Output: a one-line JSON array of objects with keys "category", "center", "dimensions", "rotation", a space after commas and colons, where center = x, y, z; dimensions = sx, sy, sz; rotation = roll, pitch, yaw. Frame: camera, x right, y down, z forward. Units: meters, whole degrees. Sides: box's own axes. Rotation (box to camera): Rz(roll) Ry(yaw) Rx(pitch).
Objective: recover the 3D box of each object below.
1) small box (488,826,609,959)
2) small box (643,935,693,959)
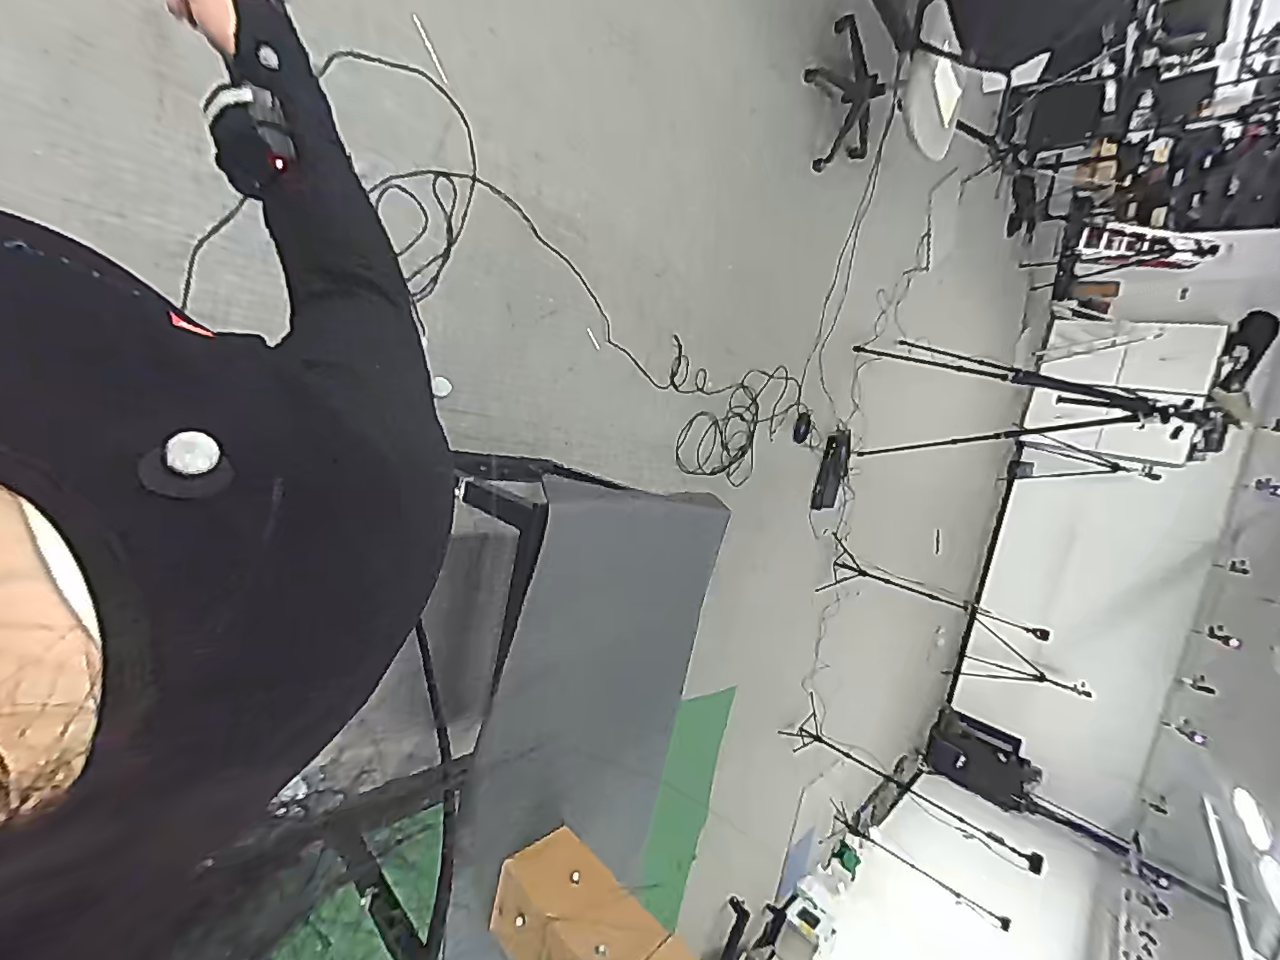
[{"category": "small box", "center": [-0.197, 0.885, 1.143], "dimensions": [0.179, 0.176, 0.168], "rotation": [4, 100, -50]}, {"category": "small box", "center": [0.044, 0.957, 0.932], "dimensions": [0.179, 0.176, 0.168], "rotation": [-1, 103, -49]}]
